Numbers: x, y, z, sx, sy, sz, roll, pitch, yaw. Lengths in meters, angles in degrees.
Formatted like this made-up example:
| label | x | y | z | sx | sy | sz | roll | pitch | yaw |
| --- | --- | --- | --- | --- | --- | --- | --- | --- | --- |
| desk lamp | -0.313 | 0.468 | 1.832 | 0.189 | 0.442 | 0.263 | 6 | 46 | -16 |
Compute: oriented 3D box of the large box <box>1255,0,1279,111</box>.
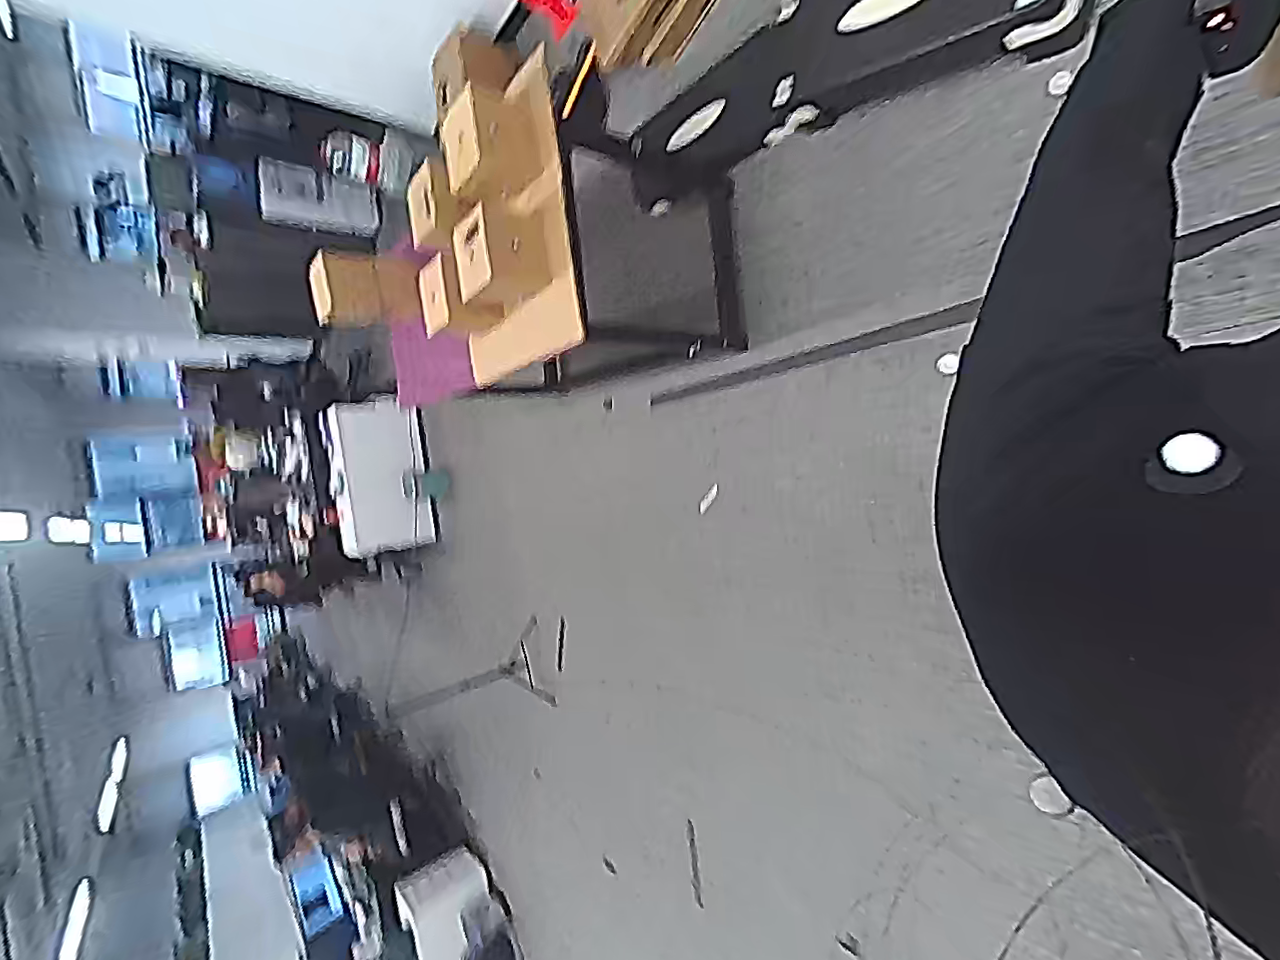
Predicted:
| label | x | y | z | sx | sy | sz | roll | pitch | yaw |
| --- | --- | --- | --- | --- | --- | --- | --- | --- | --- |
| large box | 0.658 | -0.456 | 0.280 | 0.408 | 0.320 | 0.320 | 19 | 114 | 46 |
